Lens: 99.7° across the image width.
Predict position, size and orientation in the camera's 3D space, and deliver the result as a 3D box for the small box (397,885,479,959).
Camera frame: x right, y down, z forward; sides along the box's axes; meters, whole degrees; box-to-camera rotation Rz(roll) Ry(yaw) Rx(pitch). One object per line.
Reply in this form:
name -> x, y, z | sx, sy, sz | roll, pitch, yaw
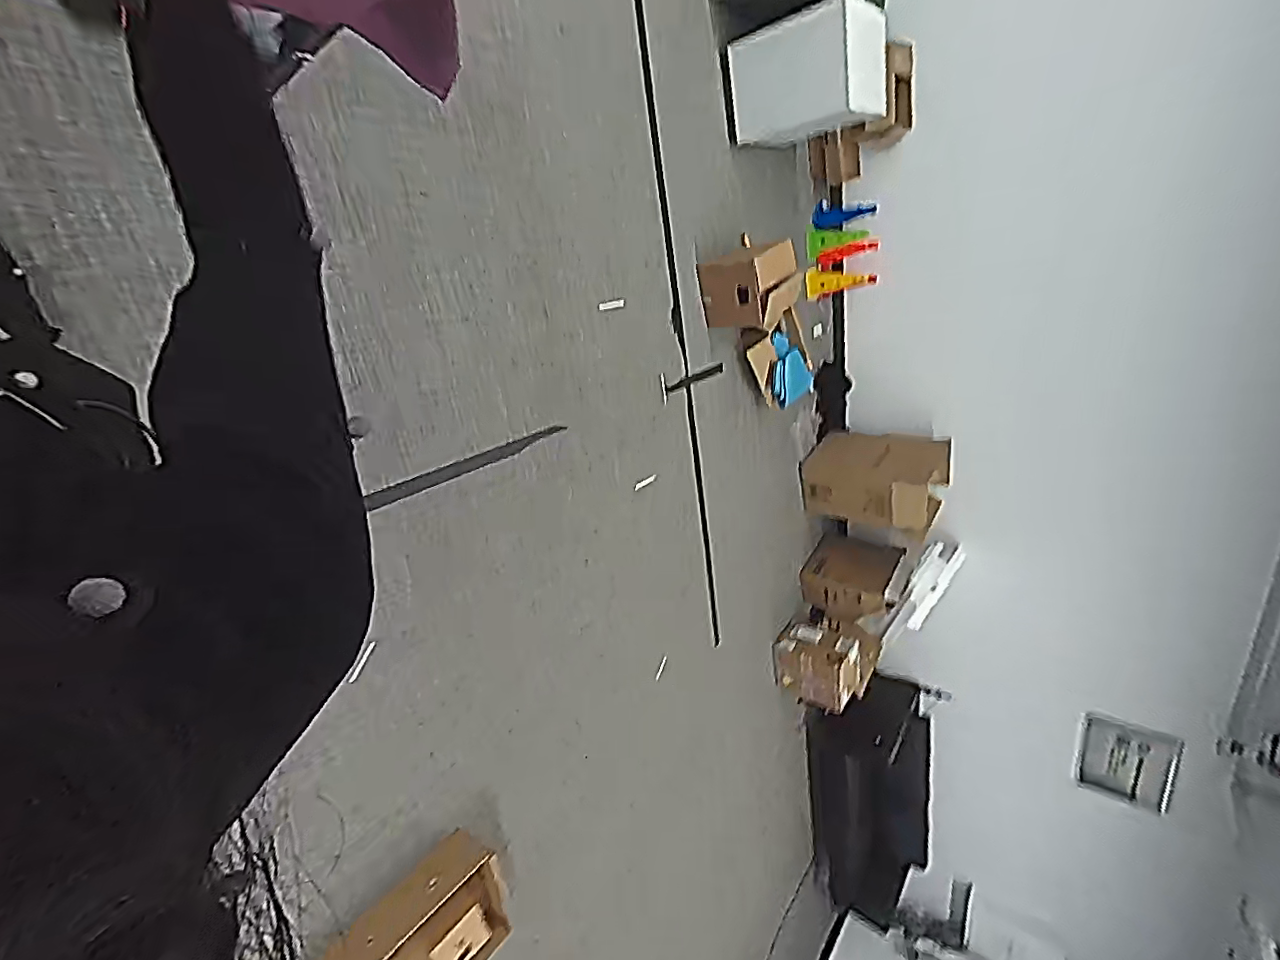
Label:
small box -> -0.657, 1.482, 1.762 | 0.168, 0.176, 0.179 | -31, 120, -43
